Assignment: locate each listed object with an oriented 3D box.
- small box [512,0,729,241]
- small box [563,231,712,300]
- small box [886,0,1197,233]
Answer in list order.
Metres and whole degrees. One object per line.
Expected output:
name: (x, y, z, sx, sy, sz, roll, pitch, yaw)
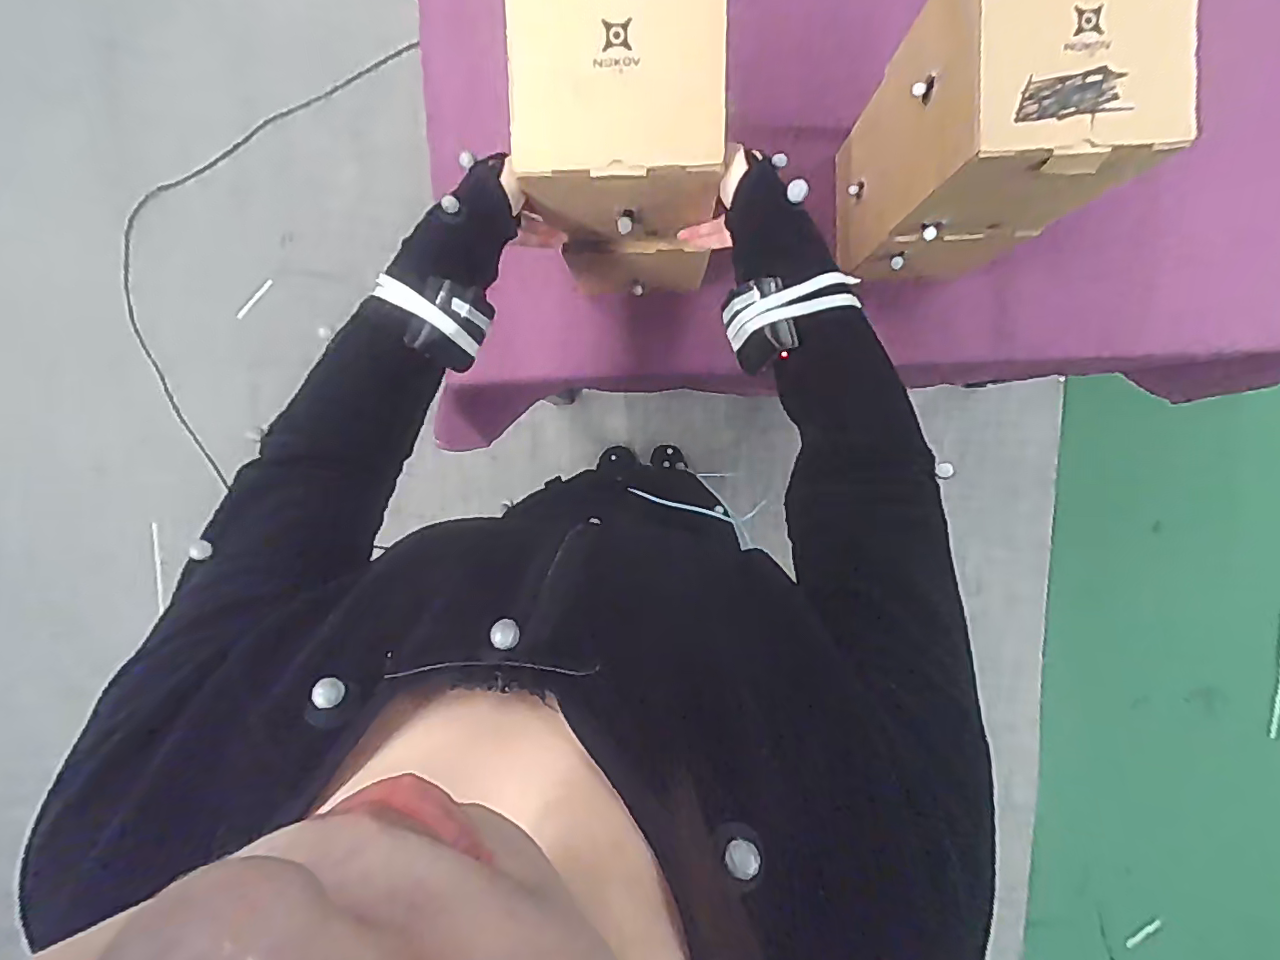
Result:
small box: (-0.009, -0.326, 0.487, 0.168, 0.176, 0.179, -1, 97, 4)
small box: (-0.002, -0.335, 0.666, 0.168, 0.176, 0.179, 0, 93, 1)
small box: (0.342, -0.342, 0.494, 0.168, 0.176, 0.179, -2, 92, 1)
